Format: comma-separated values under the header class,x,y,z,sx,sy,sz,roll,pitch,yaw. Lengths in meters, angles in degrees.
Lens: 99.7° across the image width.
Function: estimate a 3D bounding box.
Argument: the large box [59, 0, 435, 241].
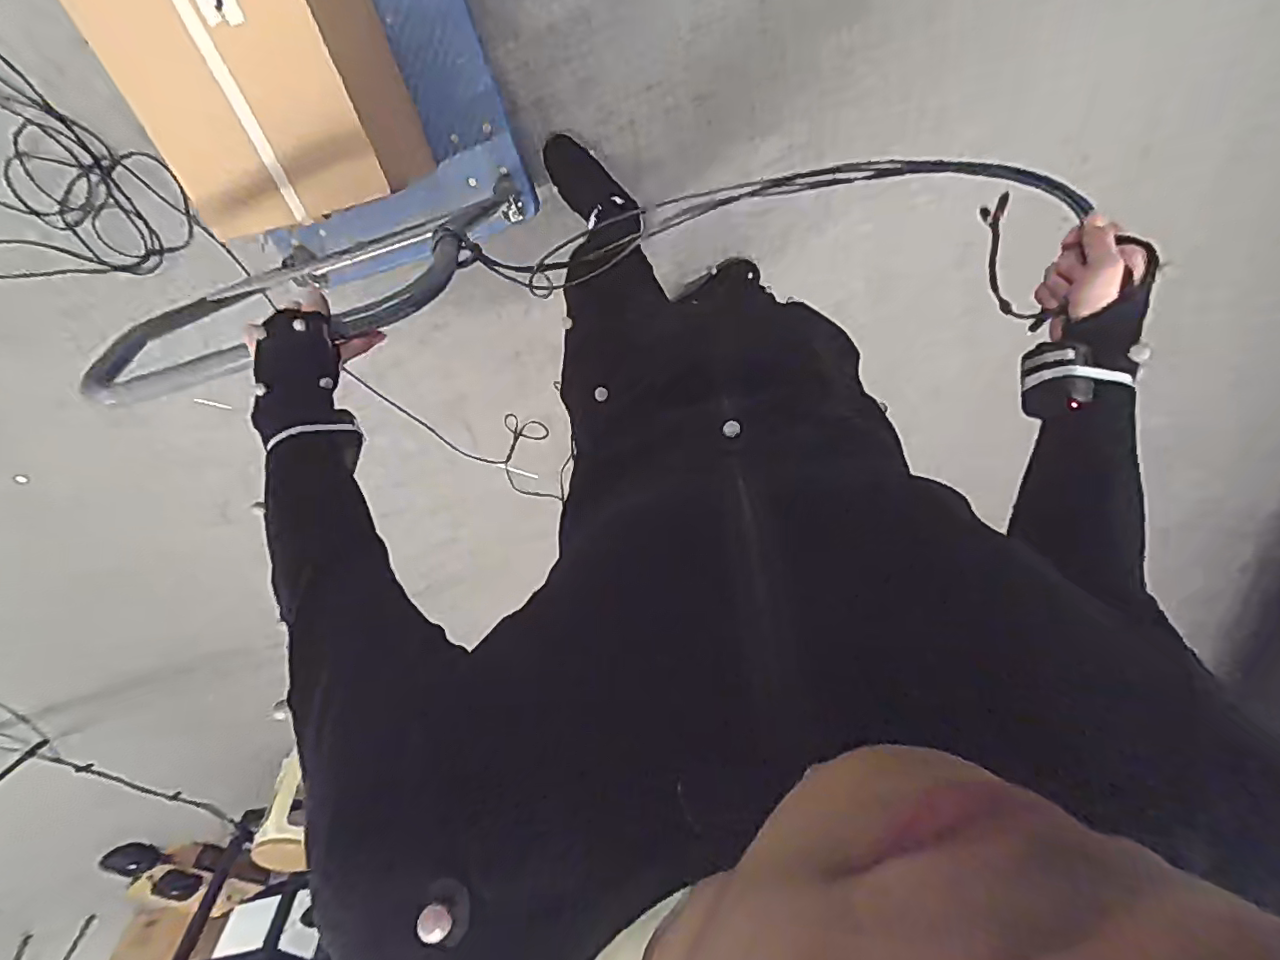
class,x,y,z,sx,sy,sz,roll,pitch,yaw
large box,-0.597,-0.664,0.879,0.320,0.320,0.408,-13,126,5
